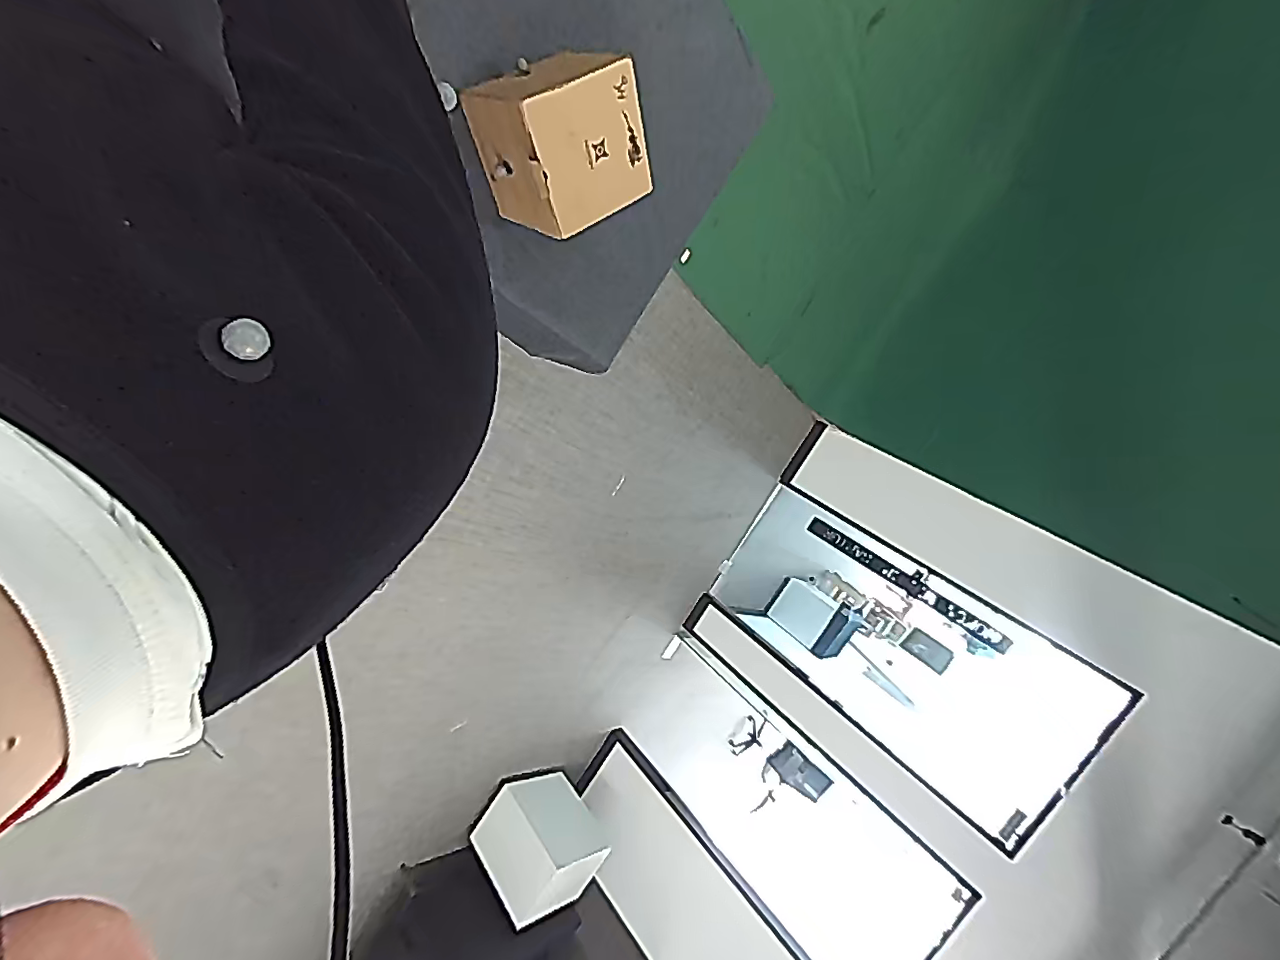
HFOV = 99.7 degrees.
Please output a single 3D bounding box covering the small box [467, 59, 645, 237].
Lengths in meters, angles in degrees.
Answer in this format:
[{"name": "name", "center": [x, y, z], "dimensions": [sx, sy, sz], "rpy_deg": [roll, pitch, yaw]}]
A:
[{"name": "small box", "center": [-0.121, -0.474, 0.768], "dimensions": [0.179, 0.176, 0.168], "rpy_deg": [-37, 141, -20]}]
